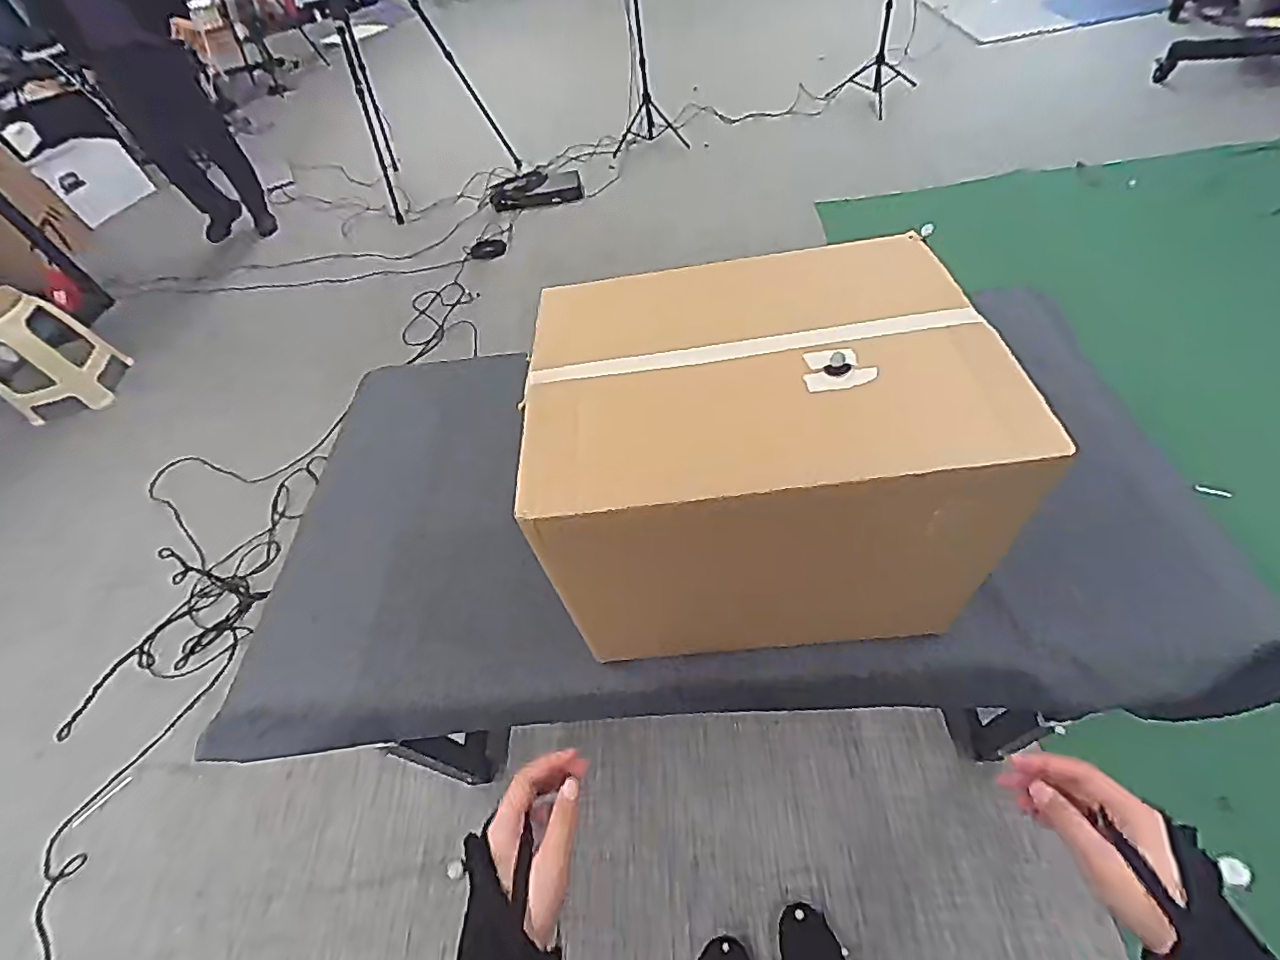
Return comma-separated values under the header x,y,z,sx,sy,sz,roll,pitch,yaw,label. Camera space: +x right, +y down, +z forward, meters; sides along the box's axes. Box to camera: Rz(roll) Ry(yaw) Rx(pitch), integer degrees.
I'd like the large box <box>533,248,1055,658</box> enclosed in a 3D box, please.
x,y,z,sx,sy,sz,roll,pitch,yaw,label
0.119,-0.017,0.615,0.408,0.320,0.320,-6,52,4,large box
